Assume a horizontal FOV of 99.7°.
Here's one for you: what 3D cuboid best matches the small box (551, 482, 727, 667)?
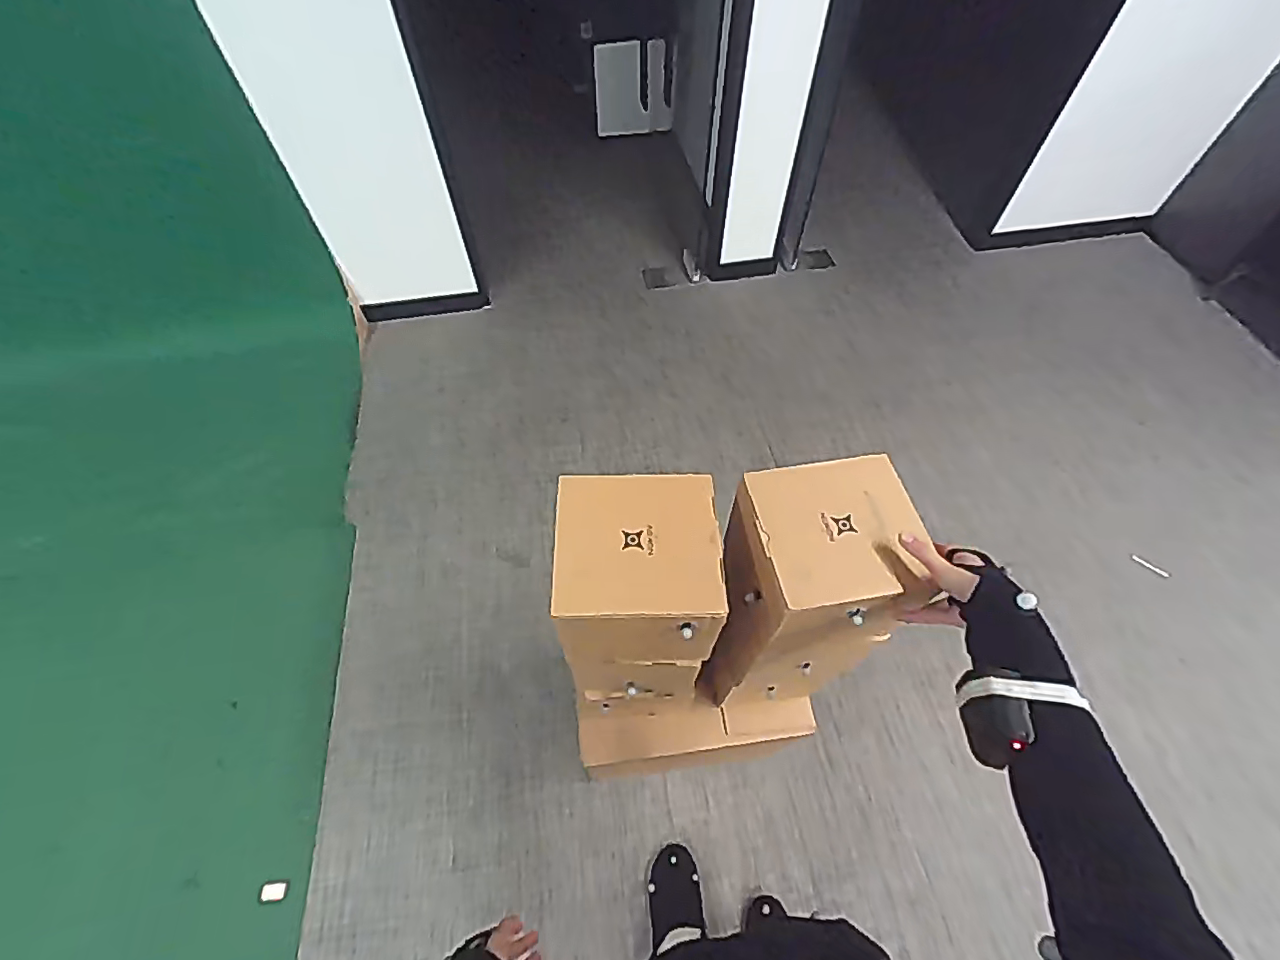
[{"bbox_3d":[-0.002,0.116,0.637,0.179,0.176,0.168,-1,57,-2],"label":"small box"}]
